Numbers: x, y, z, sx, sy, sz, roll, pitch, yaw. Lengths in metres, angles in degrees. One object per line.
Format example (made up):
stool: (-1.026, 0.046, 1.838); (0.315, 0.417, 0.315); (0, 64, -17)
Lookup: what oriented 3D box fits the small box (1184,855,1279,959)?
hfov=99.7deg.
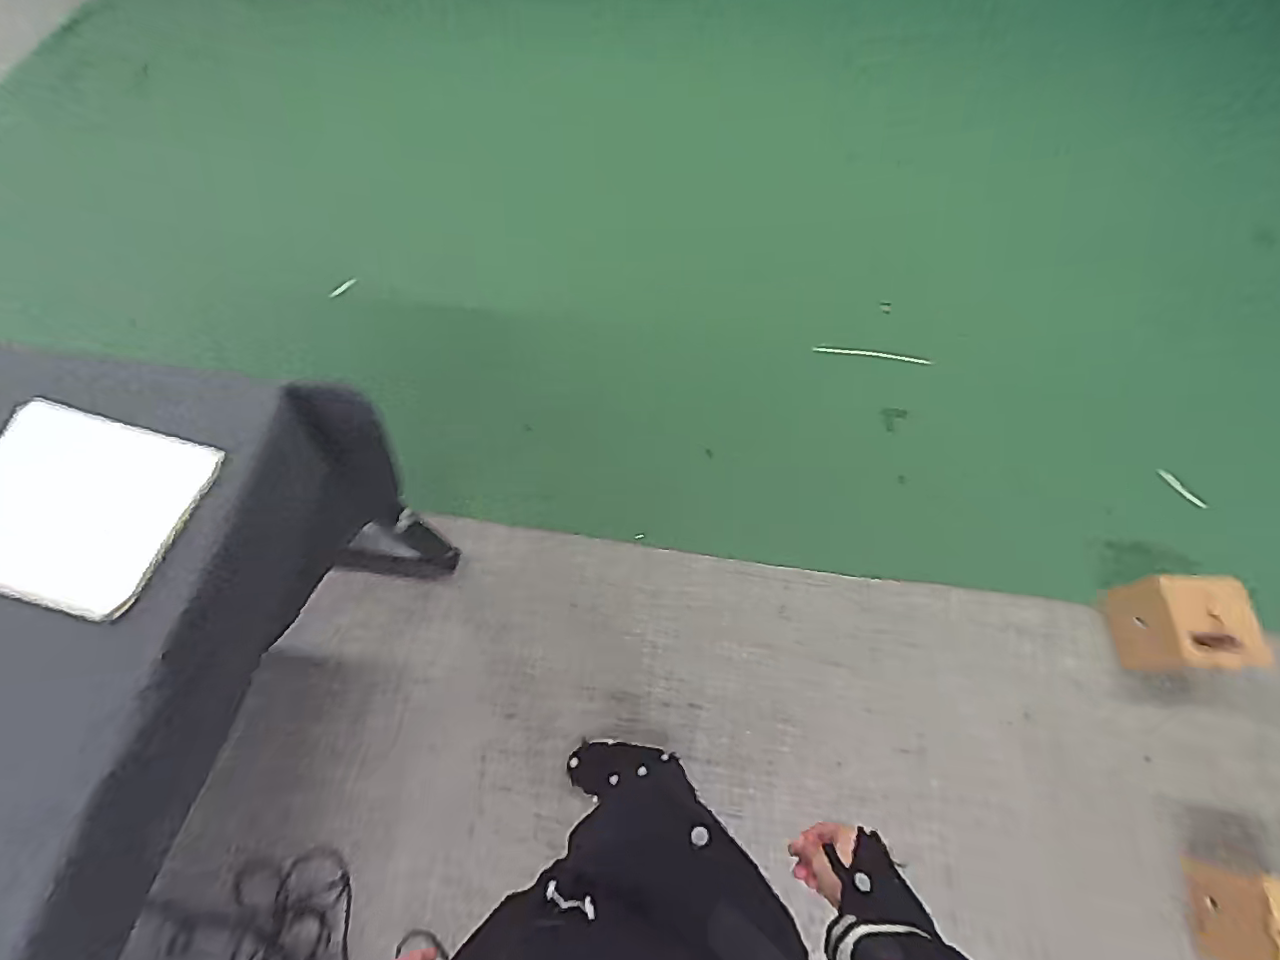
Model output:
small box: (1.138, 0.792, 0.955); (0.179, 0.176, 0.168); (10, 67, 7)
